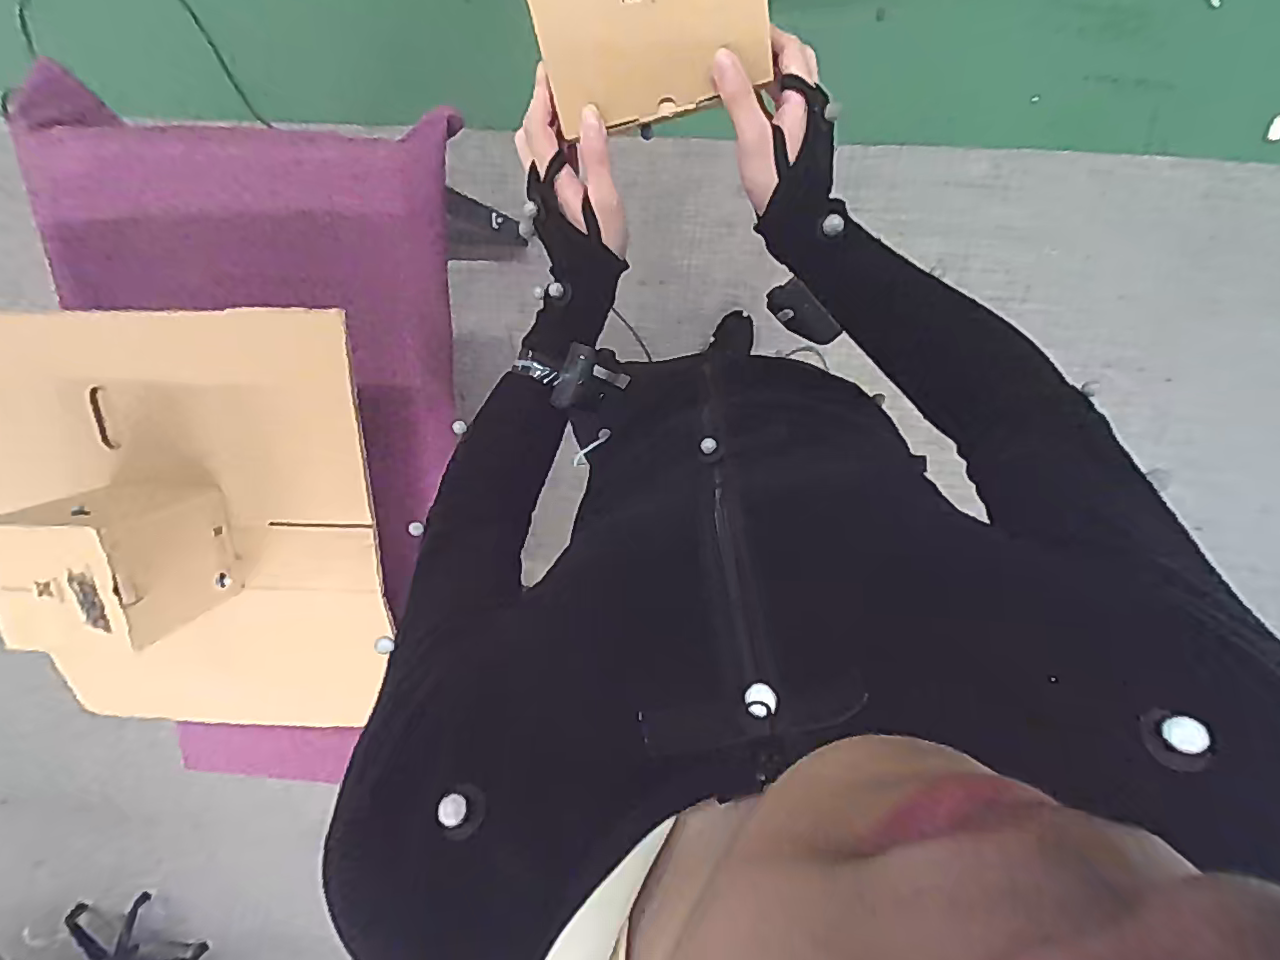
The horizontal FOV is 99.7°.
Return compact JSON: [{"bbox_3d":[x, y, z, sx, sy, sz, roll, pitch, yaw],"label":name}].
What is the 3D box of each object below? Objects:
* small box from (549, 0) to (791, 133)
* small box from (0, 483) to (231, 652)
[{"bbox_3d":[0.011,-0.395,0.430,0.168,0.176,0.179,-12,123,6],"label":"small box"},{"bbox_3d":[-0.681,0.104,0.708,0.179,0.176,0.168,1,105,5],"label":"small box"}]
